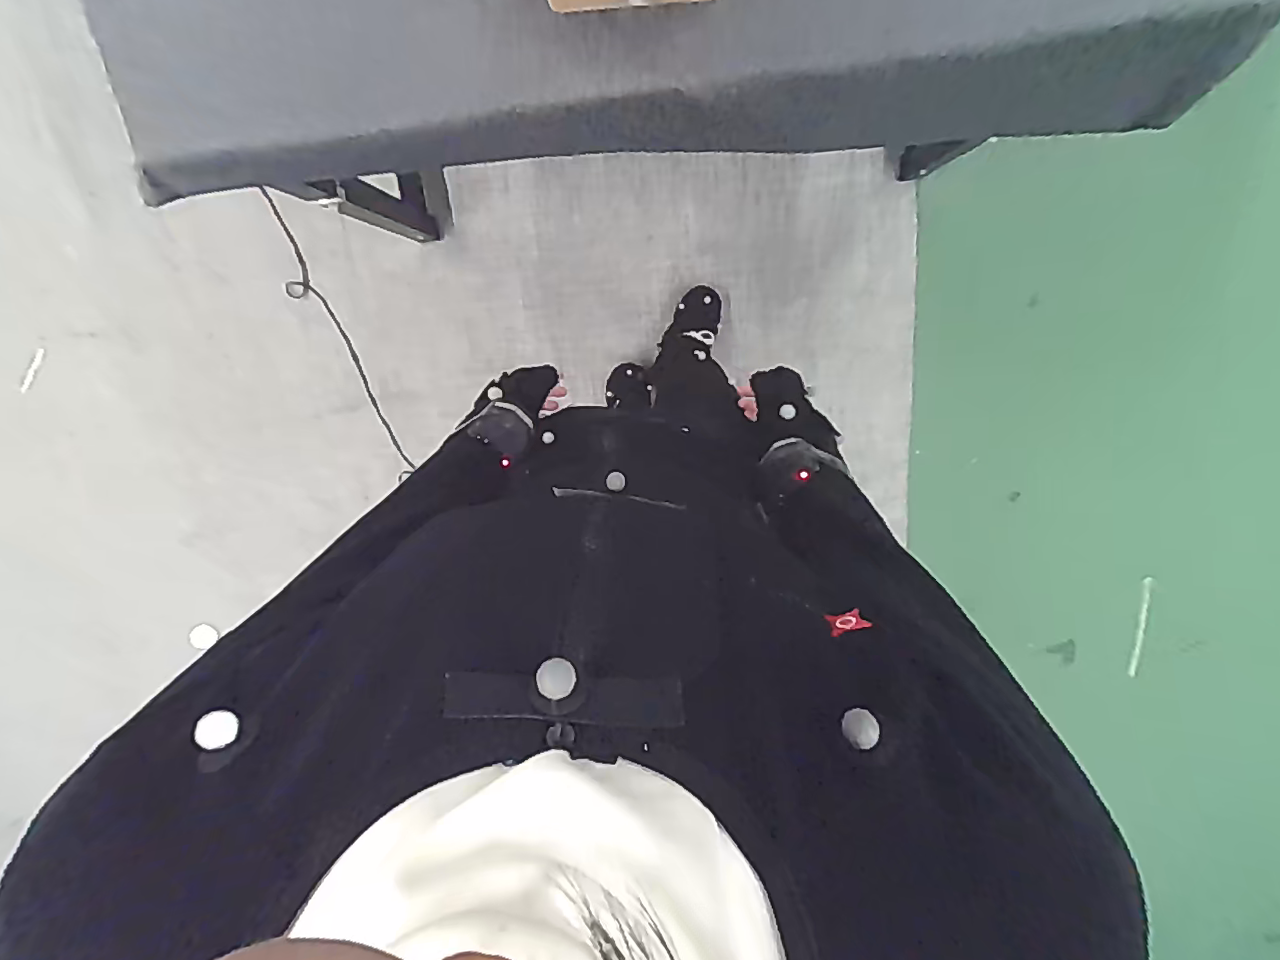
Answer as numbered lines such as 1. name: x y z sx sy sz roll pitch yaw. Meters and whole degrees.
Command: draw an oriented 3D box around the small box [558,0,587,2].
1. small box: -0.011 -0.548 0.453 0.179 0.176 0.168 -4 105 1
